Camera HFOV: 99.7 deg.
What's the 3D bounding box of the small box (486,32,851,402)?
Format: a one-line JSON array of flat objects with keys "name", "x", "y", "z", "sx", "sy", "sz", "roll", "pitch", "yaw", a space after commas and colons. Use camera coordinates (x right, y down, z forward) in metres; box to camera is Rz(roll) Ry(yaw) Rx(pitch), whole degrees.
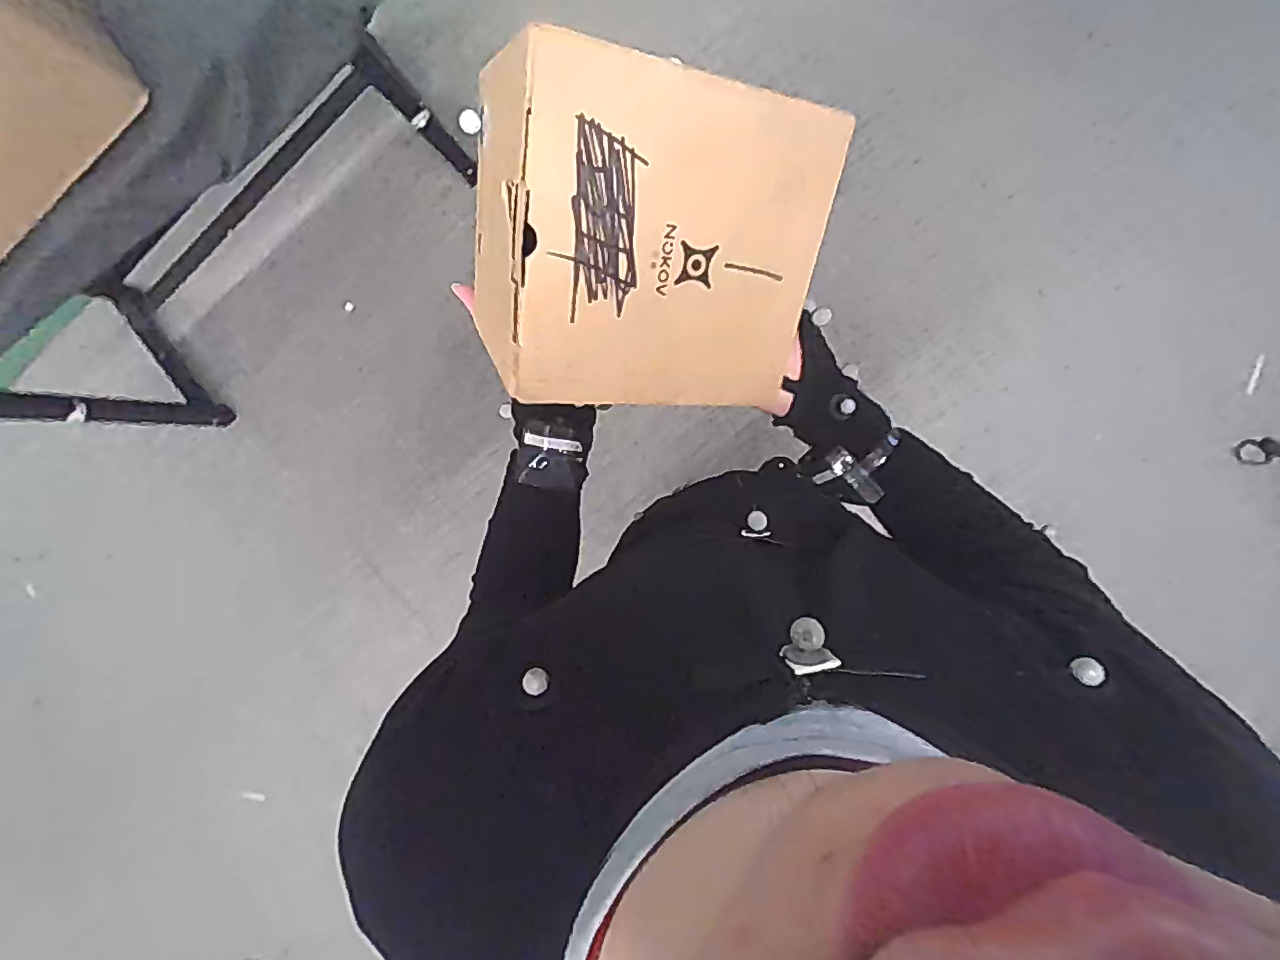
[{"name": "small box", "x": -0.004, "y": -0.156, "z": 0.358, "sx": 0.179, "sy": 0.176, "sz": 0.168, "roll": -4, "pitch": 119, "yaw": -23}]
